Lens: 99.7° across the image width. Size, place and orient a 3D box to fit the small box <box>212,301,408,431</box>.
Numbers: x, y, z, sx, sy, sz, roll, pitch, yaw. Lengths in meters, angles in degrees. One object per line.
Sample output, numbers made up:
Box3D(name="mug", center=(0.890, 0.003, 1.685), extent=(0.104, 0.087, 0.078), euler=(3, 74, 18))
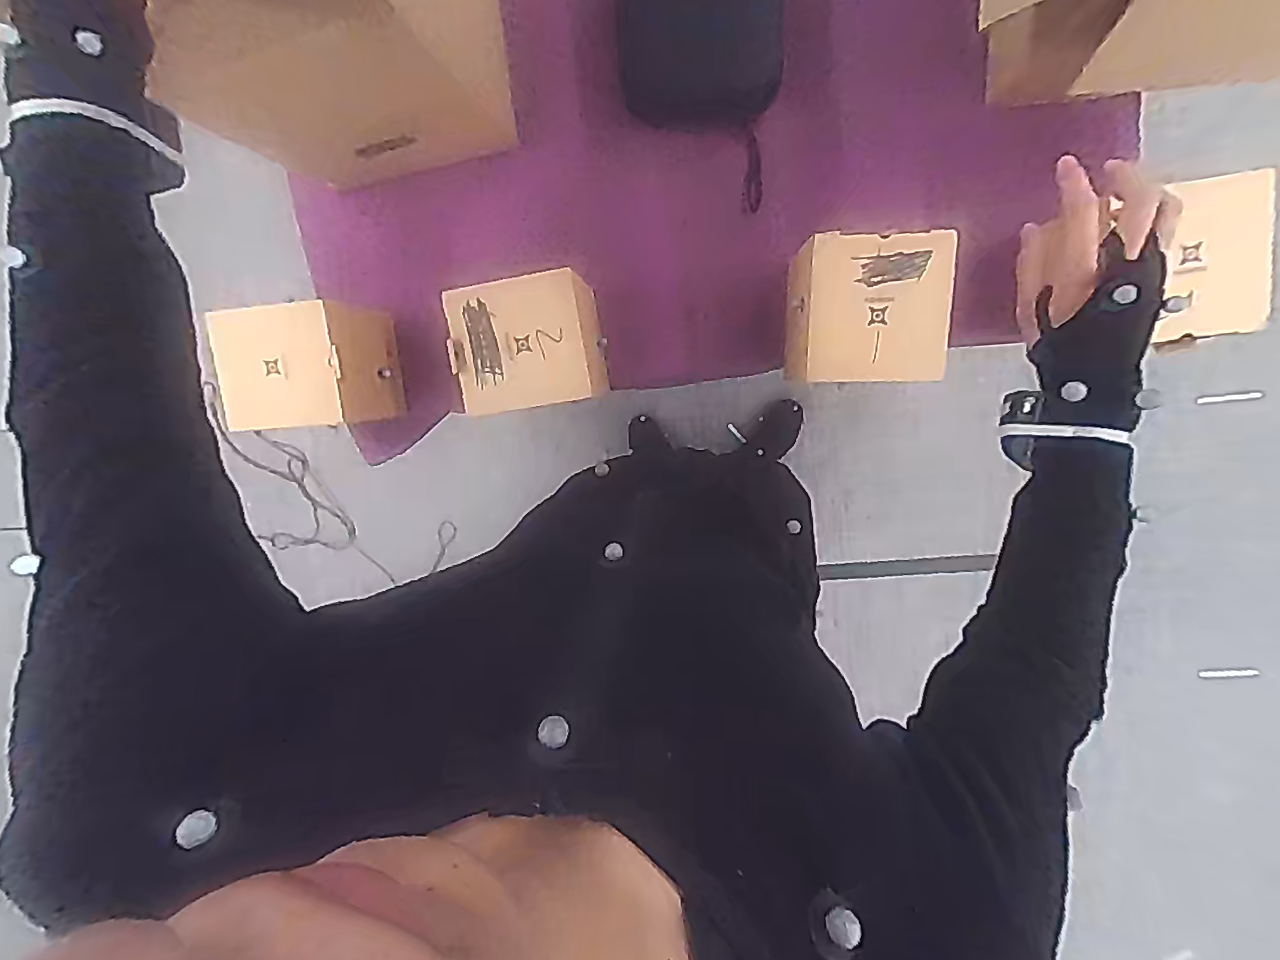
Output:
Box3D(name="small box", center=(-0.482, -0.165, 0.815), extent=(0.179, 0.176, 0.168), euler=(-4, 100, 5))

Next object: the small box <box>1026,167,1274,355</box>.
Box3D(name="small box", center=(0.624, -0.261, 0.686), extent=(0.168, 0.176, 0.179), euler=(-6, 100, 8))

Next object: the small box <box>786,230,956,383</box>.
Box3D(name="small box", center=(0.295, -0.221, 0.728), extent=(0.168, 0.176, 0.179), euler=(0, 102, 6))
